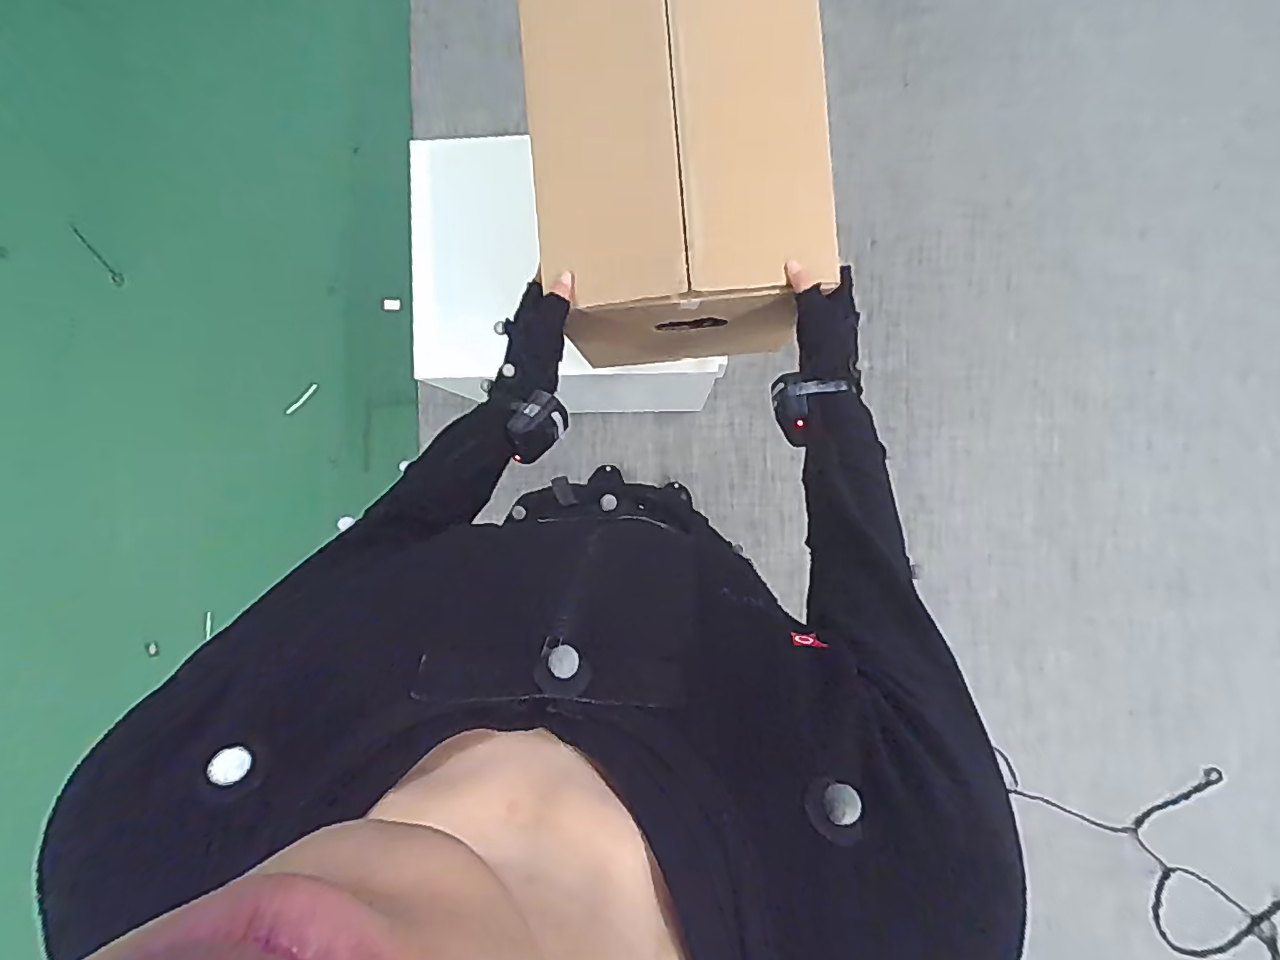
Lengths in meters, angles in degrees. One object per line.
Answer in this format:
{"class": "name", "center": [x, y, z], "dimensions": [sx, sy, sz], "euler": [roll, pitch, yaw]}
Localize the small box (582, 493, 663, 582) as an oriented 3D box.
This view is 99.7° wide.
{"class": "small box", "center": [-0.054, 0.147, 1.435], "dimensions": [0.168, 0.176, 0.179], "euler": [15, 94, -12]}
